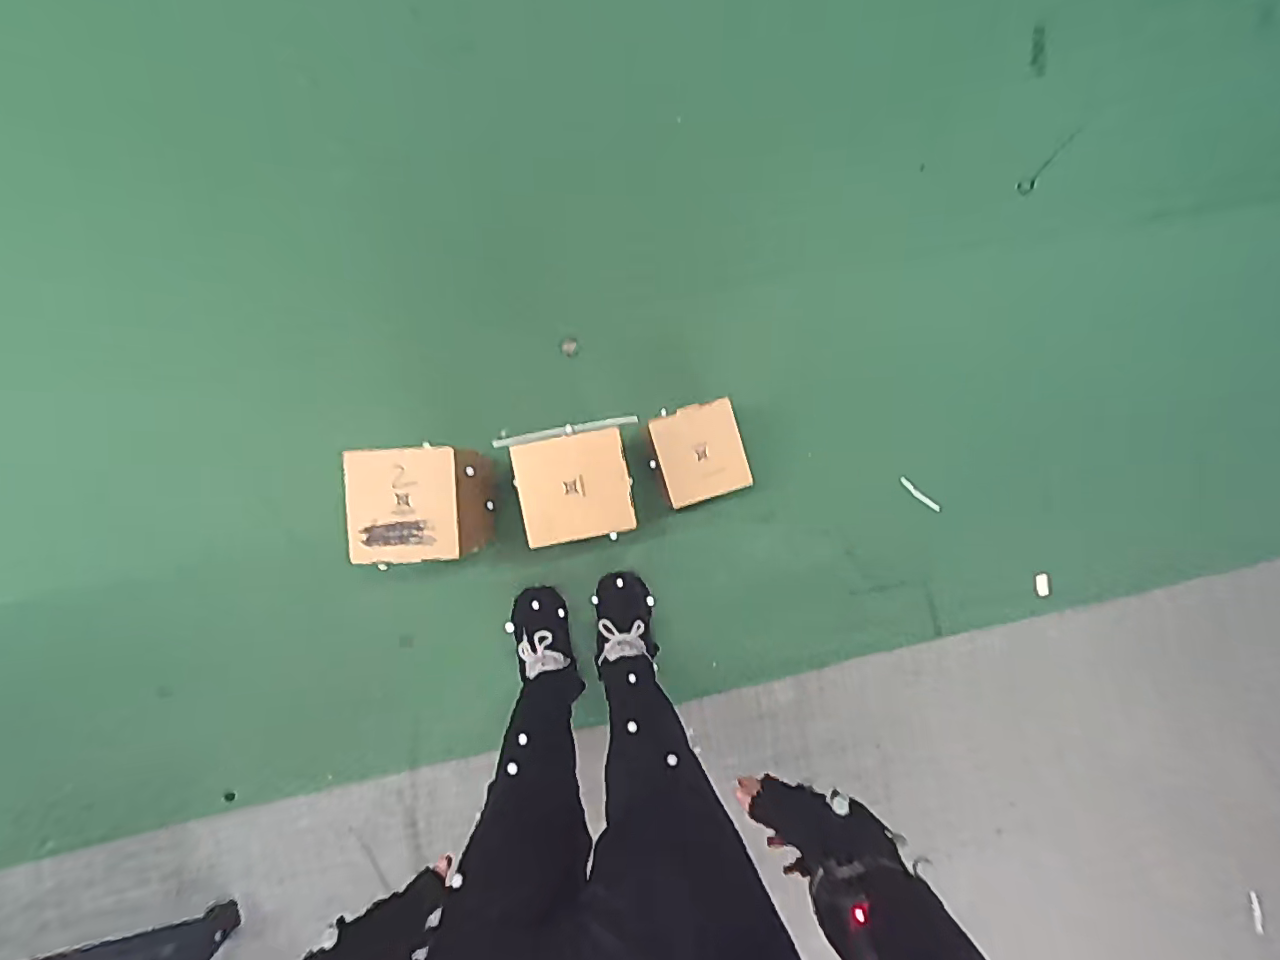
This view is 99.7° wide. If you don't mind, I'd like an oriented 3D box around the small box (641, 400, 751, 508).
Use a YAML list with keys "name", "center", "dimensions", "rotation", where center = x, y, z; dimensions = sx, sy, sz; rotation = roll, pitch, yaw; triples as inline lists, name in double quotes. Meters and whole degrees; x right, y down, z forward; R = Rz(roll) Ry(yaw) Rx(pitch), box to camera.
- name: "small box"
  center: [0.107, -0.050, 1.109]
  dimensions: [0.168, 0.176, 0.179]
  rotation: [-16, 93, -5]

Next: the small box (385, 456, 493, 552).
- name: "small box"
  center: [-0.388, 0.043, 1.064]
  dimensions: [0.168, 0.176, 0.179]
  rotation: [0, 92, -5]

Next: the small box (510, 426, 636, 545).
- name: "small box"
  center: [-0.111, 0.008, 0.925]
  dimensions: [0.179, 0.176, 0.168]
  rotation: [-11, 92, -6]
